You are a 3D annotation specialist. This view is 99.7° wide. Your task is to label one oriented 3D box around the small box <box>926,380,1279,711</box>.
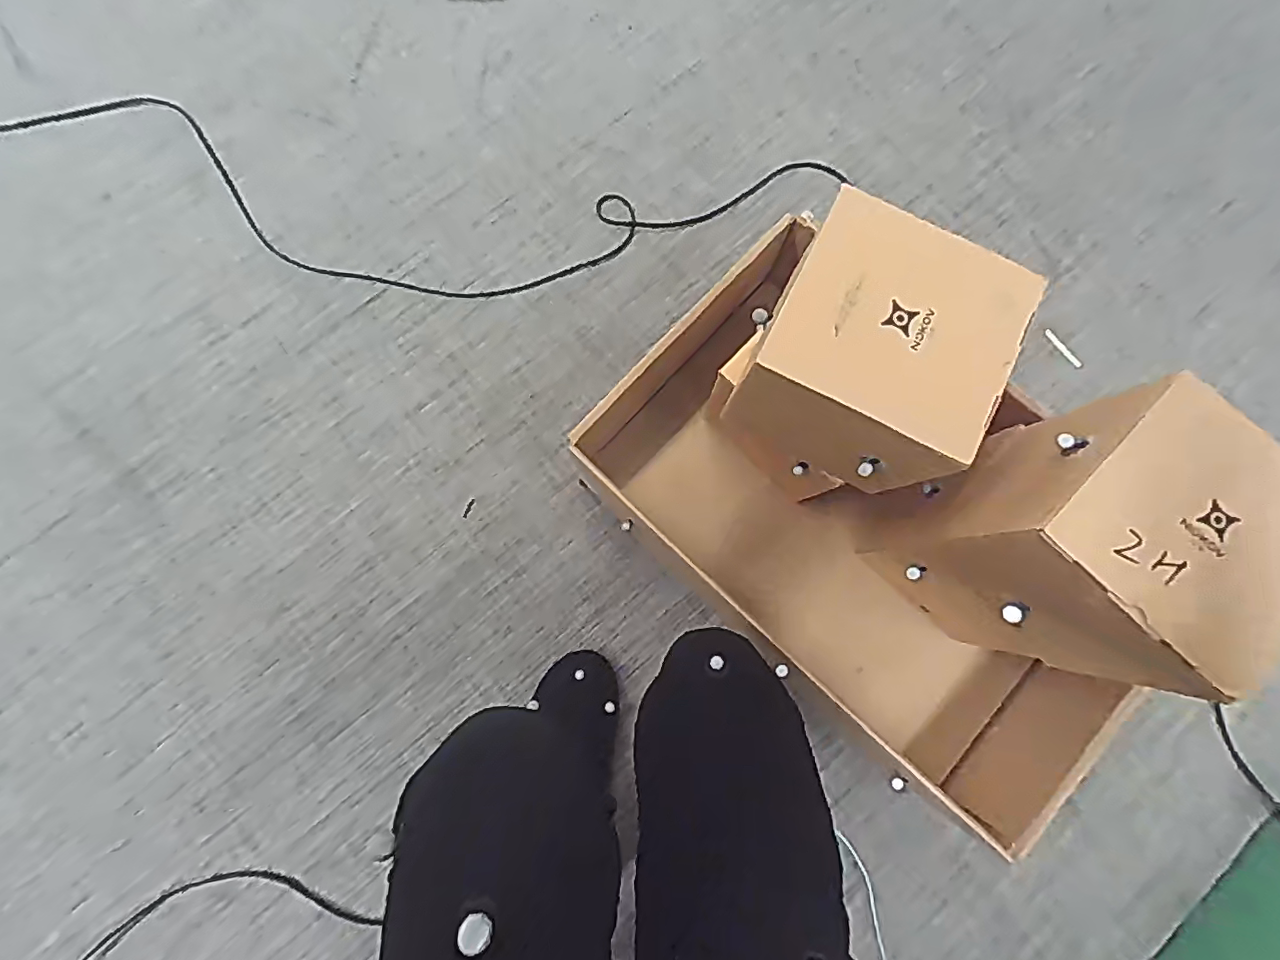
[{"bbox_3d":[0.389,0.053,0.458,0.179,0.176,0.168,-44,83,-7],"label":"small box"}]
